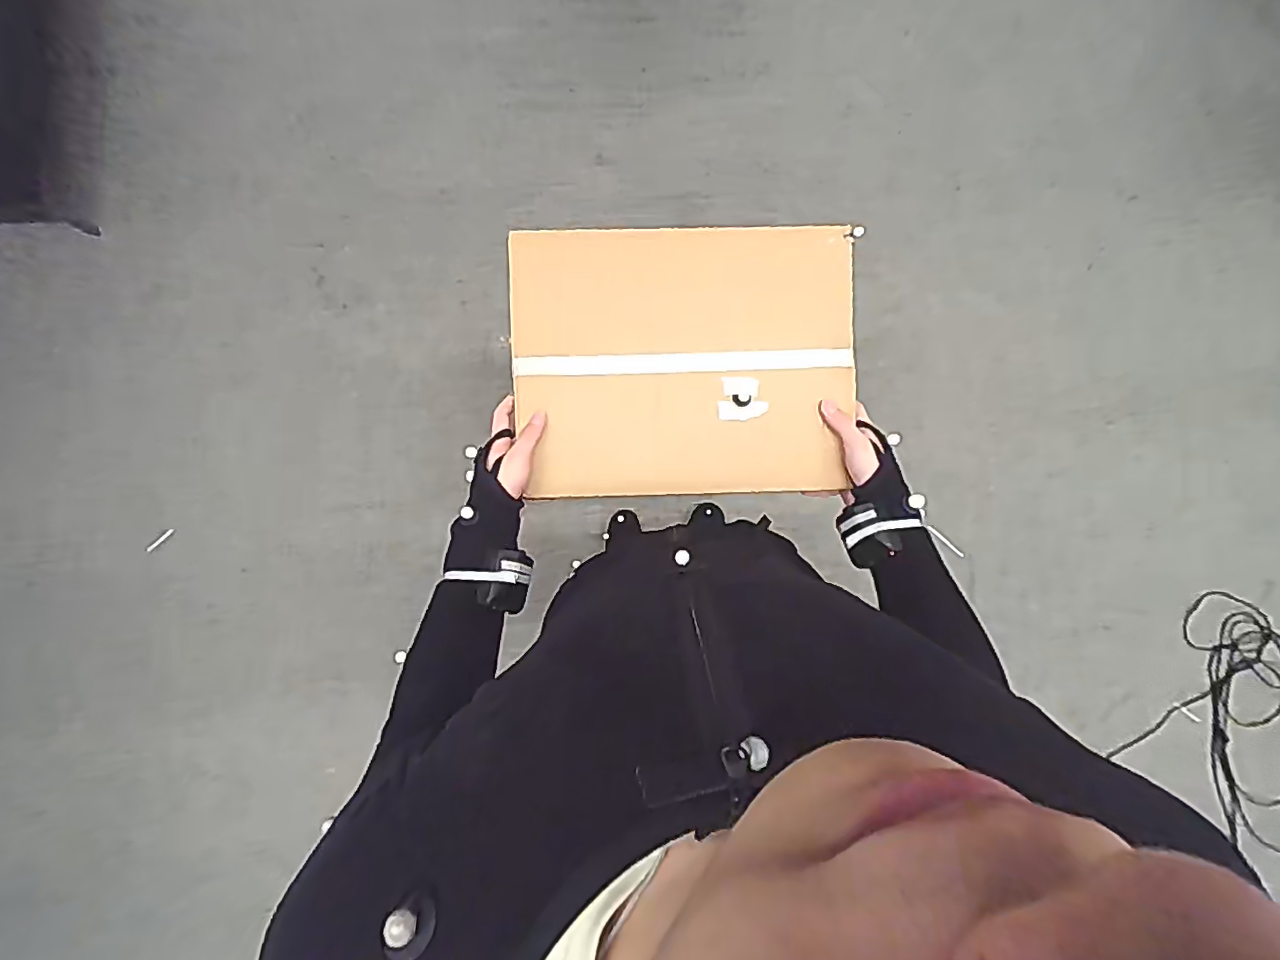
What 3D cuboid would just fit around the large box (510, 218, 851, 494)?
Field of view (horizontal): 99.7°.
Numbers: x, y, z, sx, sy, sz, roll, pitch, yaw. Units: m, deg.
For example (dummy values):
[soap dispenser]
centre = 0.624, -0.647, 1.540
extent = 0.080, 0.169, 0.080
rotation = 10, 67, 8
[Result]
[large box]
centre = 0.046, -0.156, 0.794
extent = 0.408, 0.320, 0.320
rotation = -3, 94, -2
